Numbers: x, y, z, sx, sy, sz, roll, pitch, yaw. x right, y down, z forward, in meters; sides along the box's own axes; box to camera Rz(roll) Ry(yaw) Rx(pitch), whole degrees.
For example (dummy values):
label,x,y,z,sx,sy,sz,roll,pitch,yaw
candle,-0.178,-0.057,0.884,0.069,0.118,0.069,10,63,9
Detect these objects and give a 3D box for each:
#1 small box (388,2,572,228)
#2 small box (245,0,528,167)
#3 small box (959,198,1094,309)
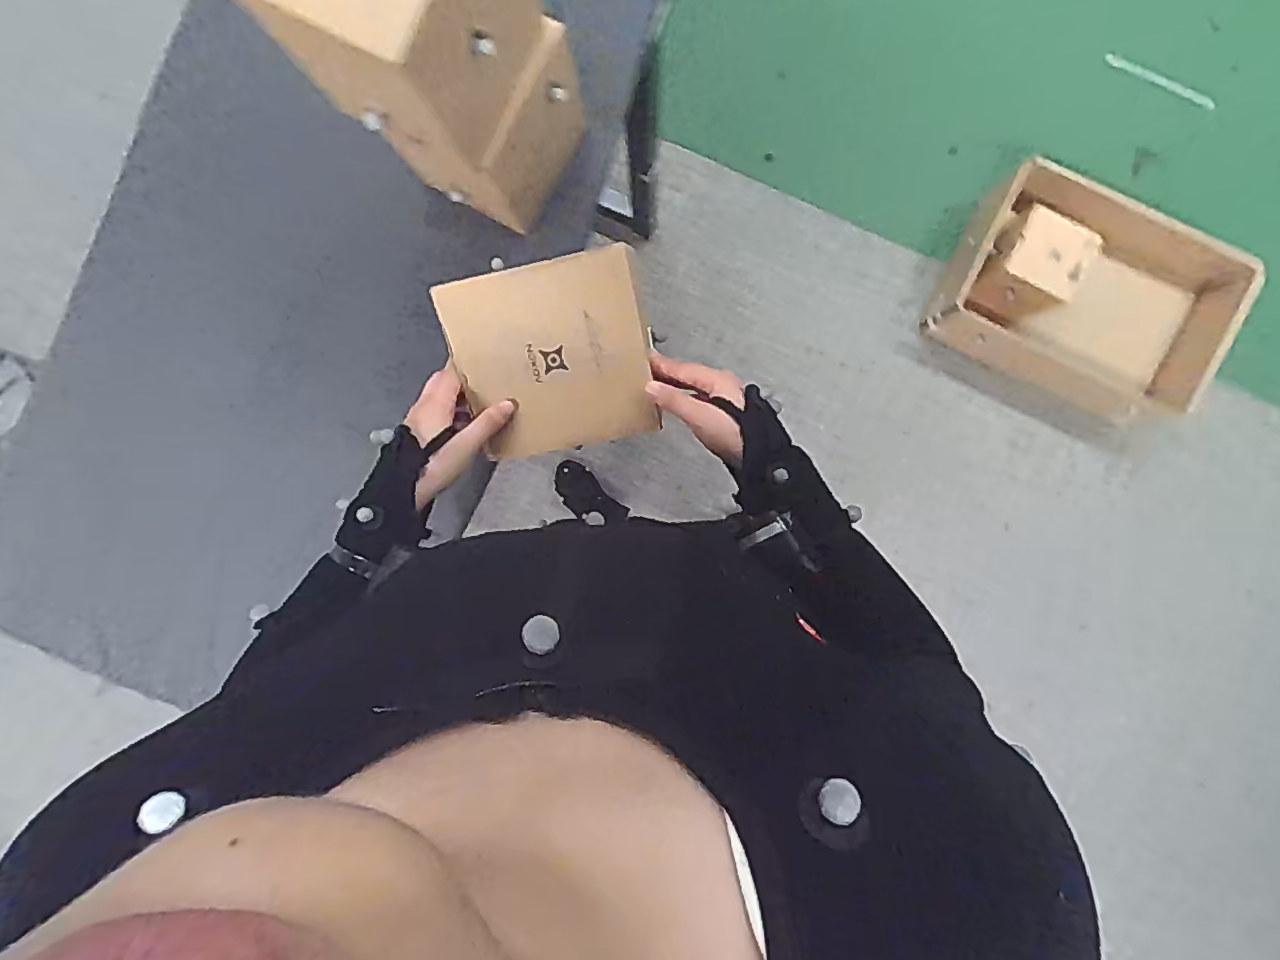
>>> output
label,x,y,z,sx,sy,sz,roll,pitch,yaw
small box,-0.194,-0.444,0.644,0.168,0.176,0.179,28,94,1
small box,-0.216,-0.430,0.481,0.168,0.176,0.179,27,94,1
small box,0.926,-0.540,1.316,0.179,0.176,0.168,26,94,-1
